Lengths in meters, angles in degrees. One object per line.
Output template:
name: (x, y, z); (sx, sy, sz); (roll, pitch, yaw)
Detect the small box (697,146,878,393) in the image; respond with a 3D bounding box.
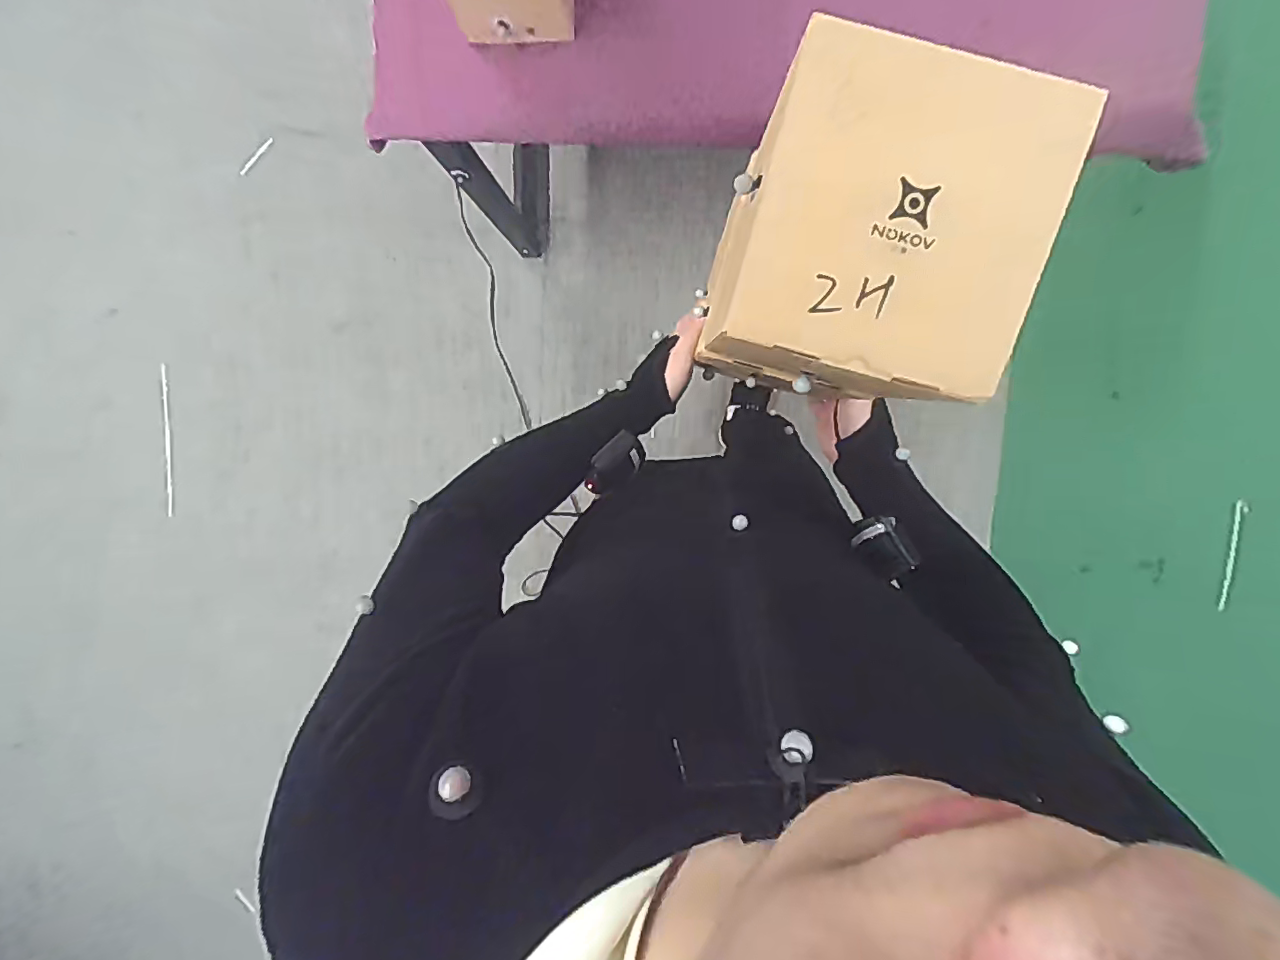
small box: (0.157, -0.193, 0.543); (0.168, 0.176, 0.179); (14, 101, 1)

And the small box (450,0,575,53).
small box: (-0.186, -0.740, 0.746); (0.168, 0.176, 0.179); (1, 95, 5)

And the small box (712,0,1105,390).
small box: (0.153, -0.169, 0.381); (0.168, 0.176, 0.179); (15, 101, 1)
